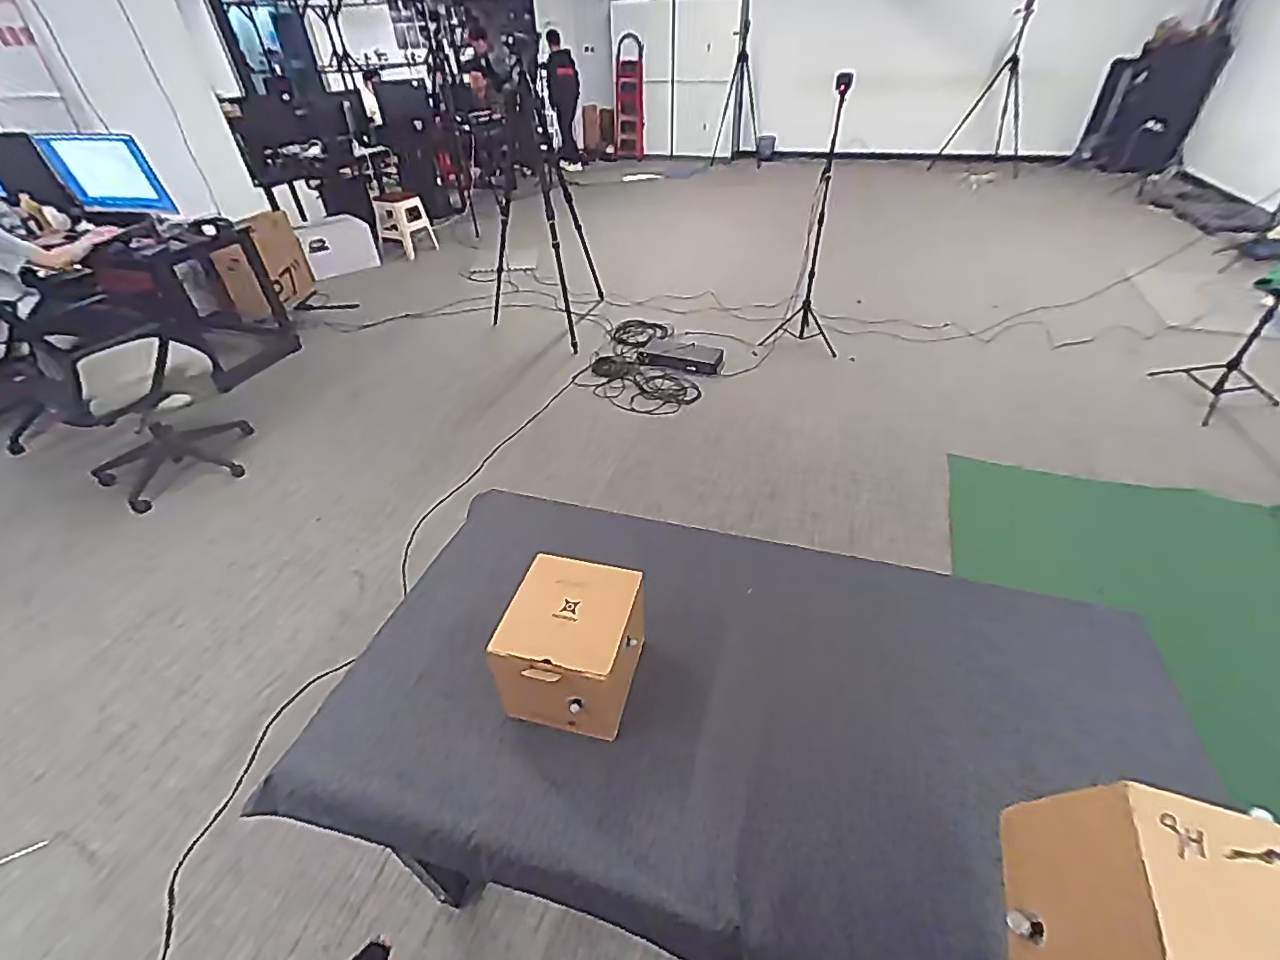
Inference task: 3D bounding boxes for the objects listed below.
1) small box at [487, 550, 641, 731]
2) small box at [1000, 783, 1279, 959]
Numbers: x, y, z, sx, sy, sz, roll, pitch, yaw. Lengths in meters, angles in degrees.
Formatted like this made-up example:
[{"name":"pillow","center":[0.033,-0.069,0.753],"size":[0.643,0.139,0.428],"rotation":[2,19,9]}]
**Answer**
[{"name":"small box","center":[-0.096,0.233,0.786],"size":[0.168,0.176,0.179],"rotation":[9,40,11]},{"name":"small box","center":[0.378,0.336,0.368],"size":[0.168,0.176,0.179],"rotation":[14,55,10]}]
